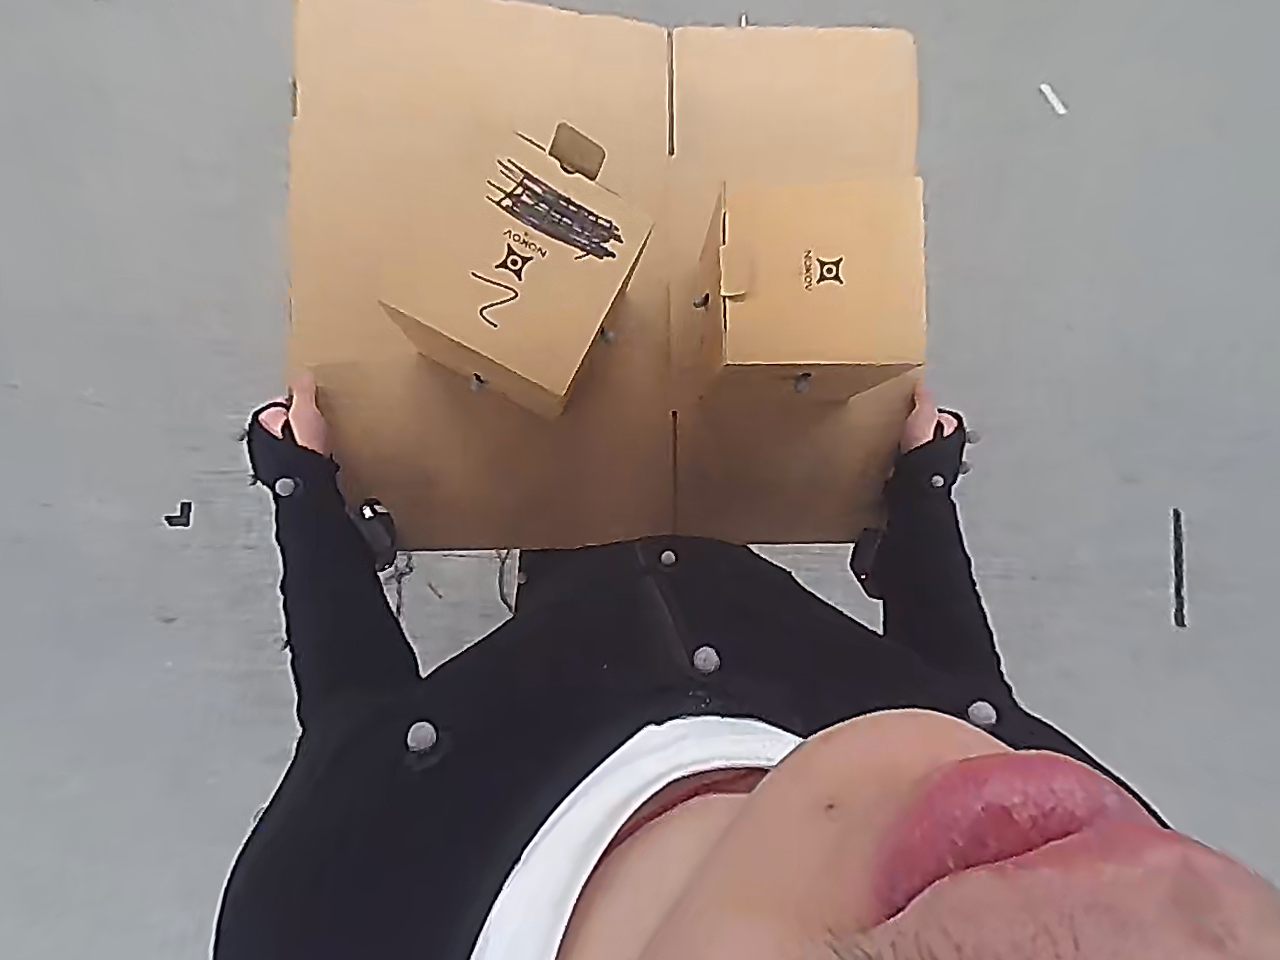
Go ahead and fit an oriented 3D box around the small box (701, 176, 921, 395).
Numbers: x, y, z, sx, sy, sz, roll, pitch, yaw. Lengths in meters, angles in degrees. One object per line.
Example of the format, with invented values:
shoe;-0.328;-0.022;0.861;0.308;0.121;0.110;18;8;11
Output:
small box;0.161;-0.185;0.559;0.179;0.176;0.168;-1;88;0
